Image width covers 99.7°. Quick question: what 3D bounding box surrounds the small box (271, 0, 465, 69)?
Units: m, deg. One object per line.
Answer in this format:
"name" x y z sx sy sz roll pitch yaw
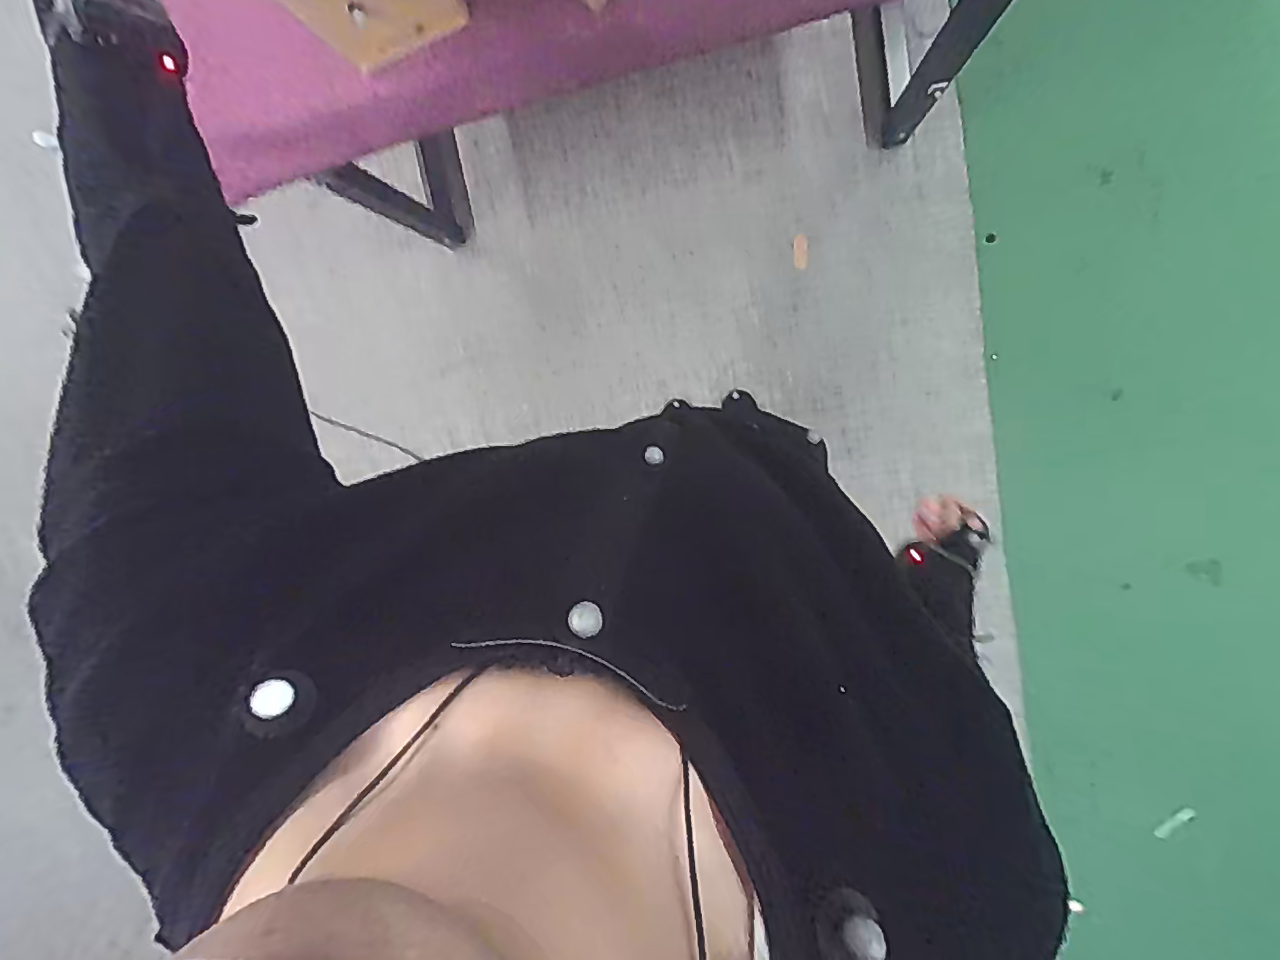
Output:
"small box" -0.332 -0.628 0.629 0.168 0.176 0.179 -16 96 11
